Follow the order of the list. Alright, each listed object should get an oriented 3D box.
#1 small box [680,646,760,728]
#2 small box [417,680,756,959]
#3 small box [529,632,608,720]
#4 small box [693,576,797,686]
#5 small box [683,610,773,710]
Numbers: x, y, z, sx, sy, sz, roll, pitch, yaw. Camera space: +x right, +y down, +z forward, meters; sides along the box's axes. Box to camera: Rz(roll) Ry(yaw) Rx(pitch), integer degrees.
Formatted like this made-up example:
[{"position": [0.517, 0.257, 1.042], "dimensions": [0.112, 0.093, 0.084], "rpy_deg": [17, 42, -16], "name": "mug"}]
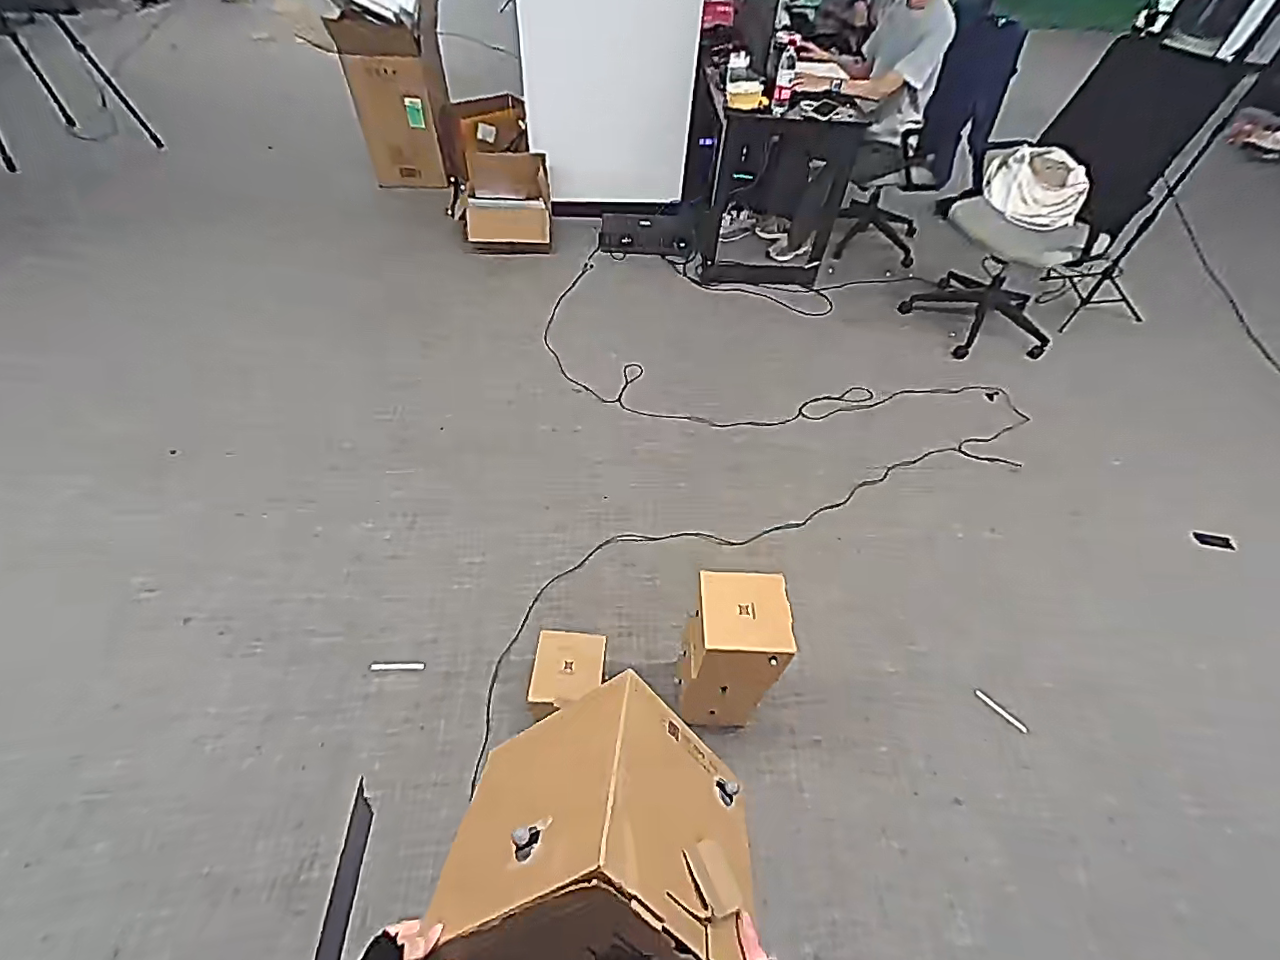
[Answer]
[{"position": [0.192, 0.517, 1.365], "dimensions": [0.179, 0.176, 0.168], "rpy_deg": [3, 52, -1], "name": "small box"}, {"position": [-0.031, 0.299, 0.435], "dimensions": [0.179, 0.168, 0.176], "rpy_deg": [-36, 15, 19], "name": "small box"}, {"position": [-0.170, 0.504, 1.351], "dimensions": [0.168, 0.176, 0.179], "rpy_deg": [6, 51, 0], "name": "small box"}, {"position": [0.204, 0.312, 1.108], "dimensions": [0.179, 0.176, 0.168], "rpy_deg": [3, 50, -2], "name": "small box"}, {"position": [0.192, 0.415, 1.234], "dimensions": [0.179, 0.176, 0.168], "rpy_deg": [5, 51, -1], "name": "small box"}]
